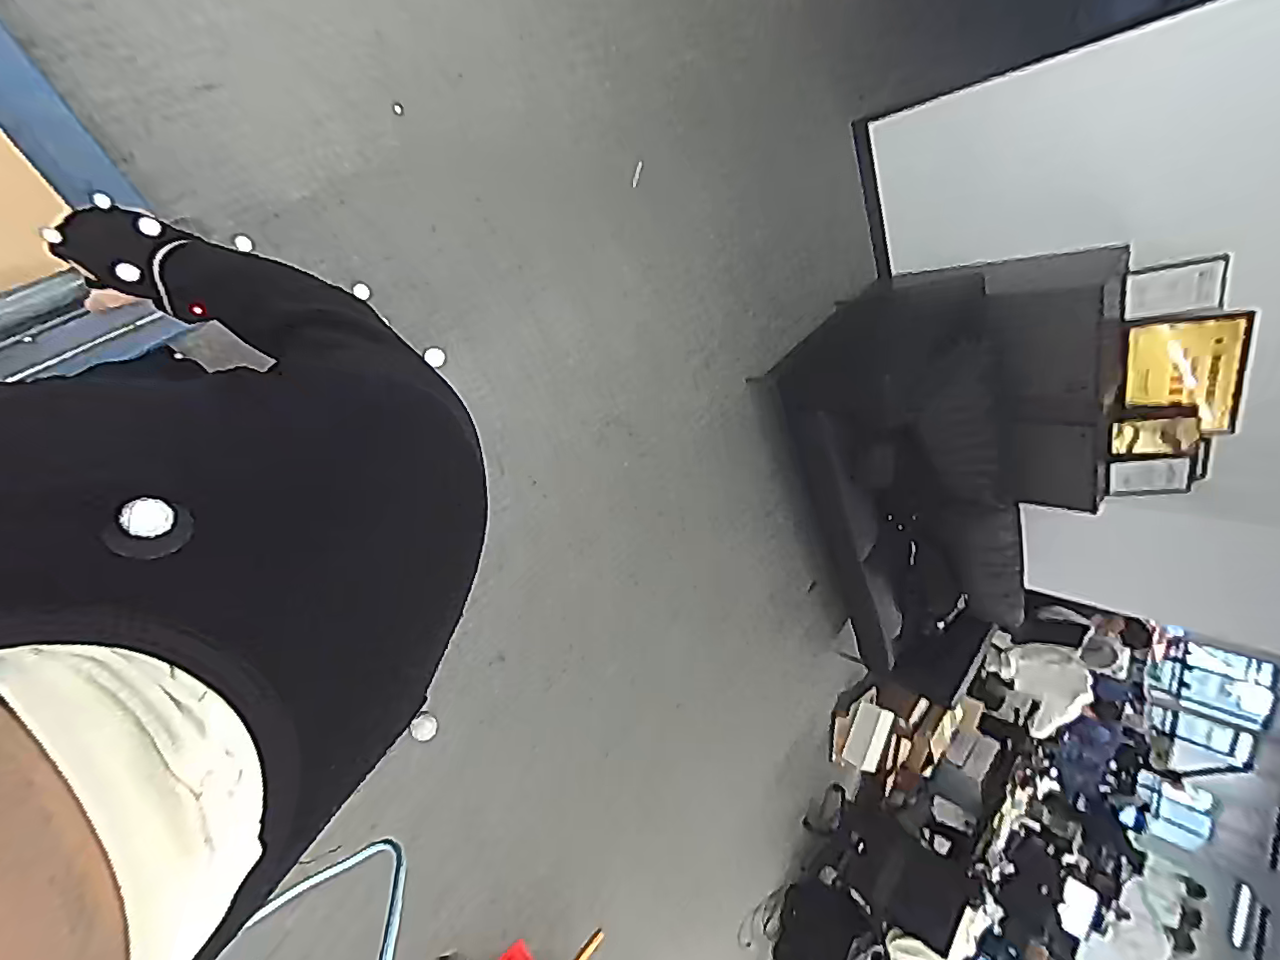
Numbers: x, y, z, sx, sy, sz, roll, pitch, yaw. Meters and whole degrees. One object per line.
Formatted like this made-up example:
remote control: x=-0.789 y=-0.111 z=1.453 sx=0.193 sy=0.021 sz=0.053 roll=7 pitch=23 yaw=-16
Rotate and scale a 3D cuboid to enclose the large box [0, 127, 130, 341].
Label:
large box: x=-1.077 y=-0.419 z=0.782 sx=0.320 sy=0.320 sz=0.408 roll=-43 pitch=123 yaw=-26
